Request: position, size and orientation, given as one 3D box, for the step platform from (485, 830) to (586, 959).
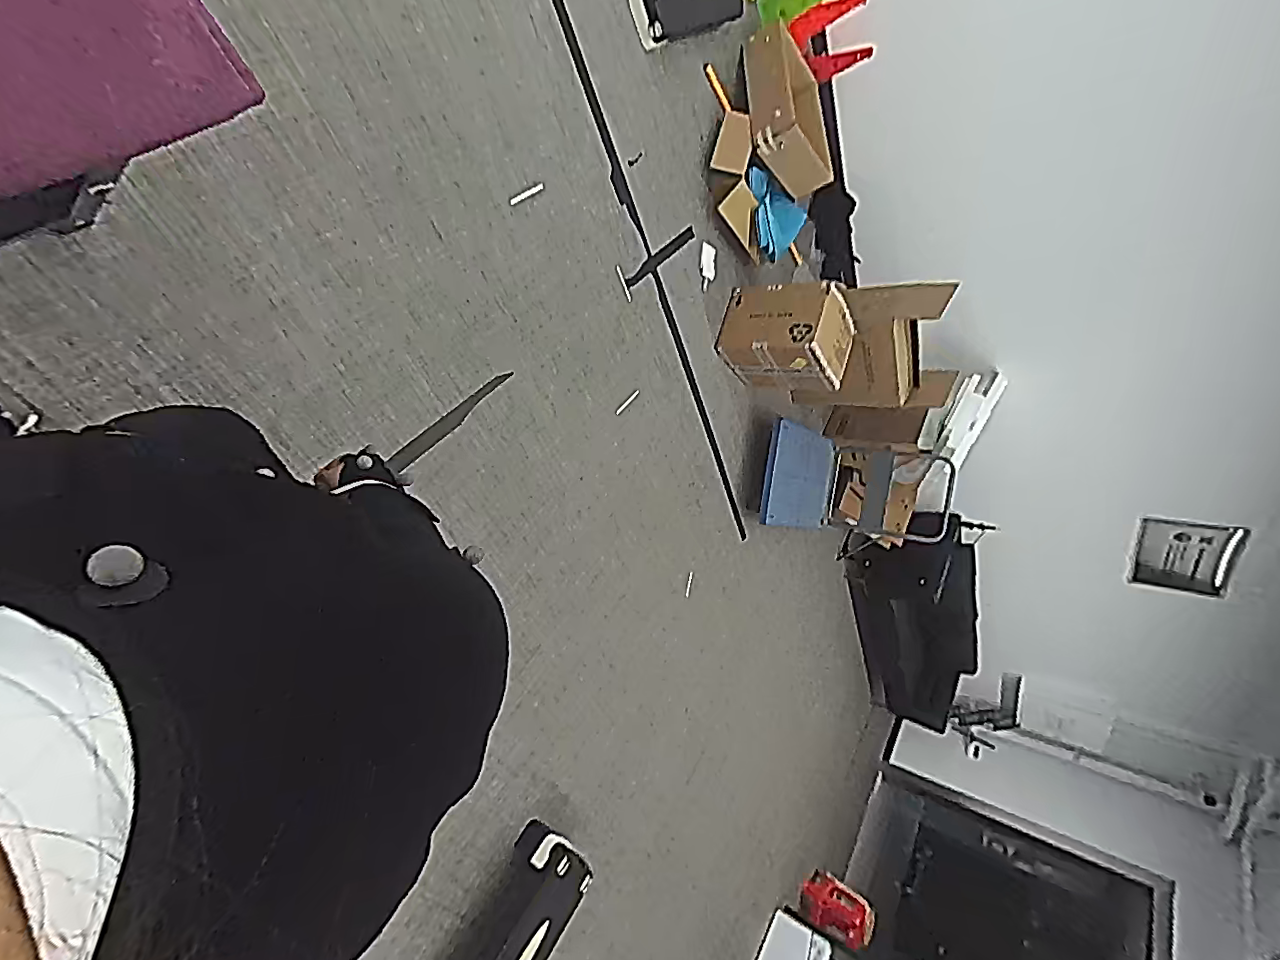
[{"bbox_3d":[-0.472,1.610,1.840,0.684,0.204,0.286,-51,133,-34],"label":"step platform"}]
